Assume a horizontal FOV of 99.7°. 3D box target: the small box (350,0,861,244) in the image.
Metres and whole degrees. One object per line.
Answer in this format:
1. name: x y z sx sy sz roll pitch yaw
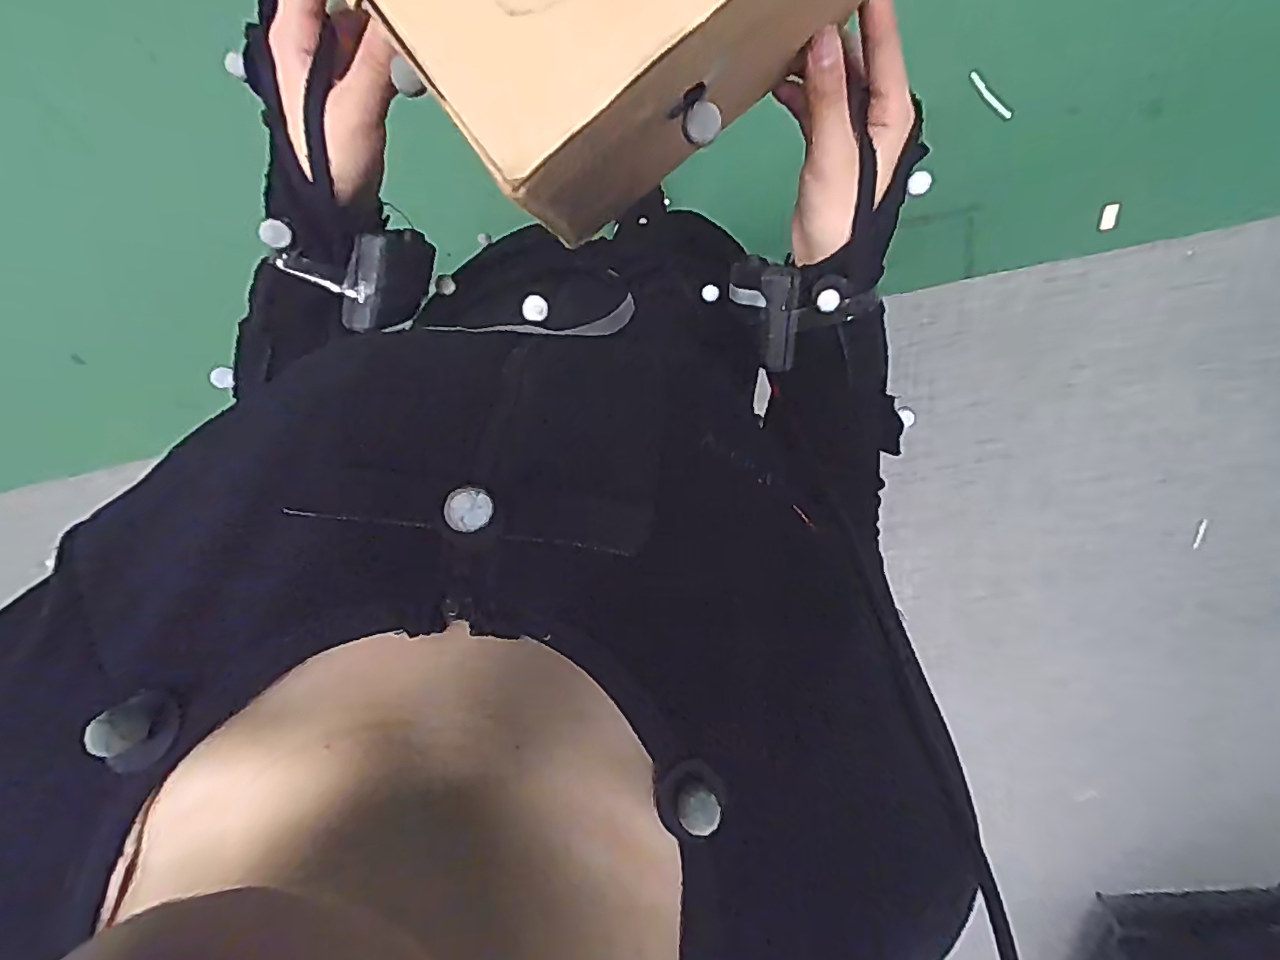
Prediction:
1. small box: -0.015 -0.213 0.200 0.179 0.176 0.168 -34 104 11
